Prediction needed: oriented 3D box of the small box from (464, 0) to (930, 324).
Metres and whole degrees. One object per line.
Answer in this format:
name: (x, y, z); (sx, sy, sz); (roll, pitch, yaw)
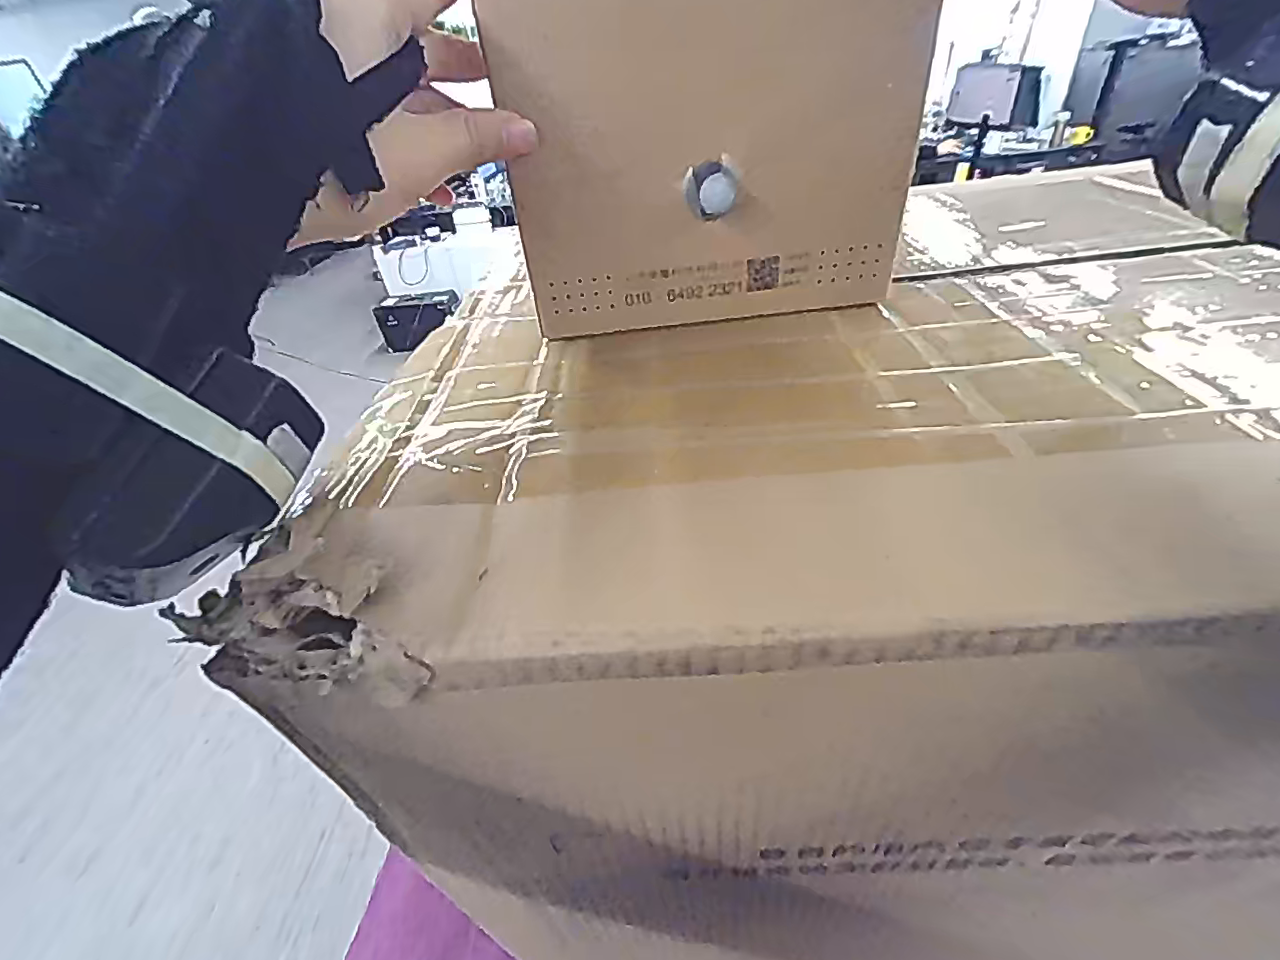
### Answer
small box: (0.017, -0.192, 0.266); (0.168, 0.176, 0.179); (-7, 38, 0)
